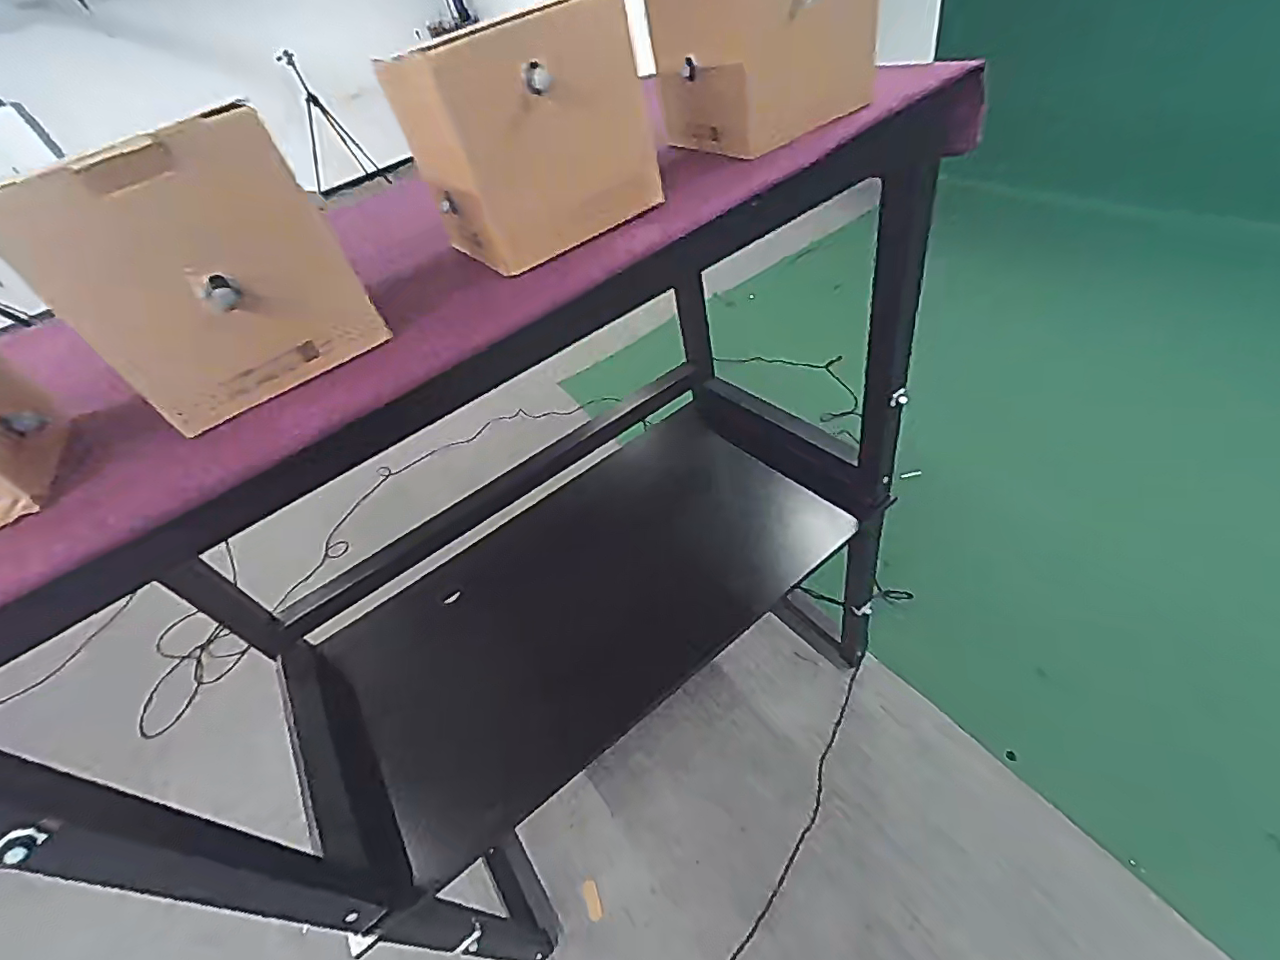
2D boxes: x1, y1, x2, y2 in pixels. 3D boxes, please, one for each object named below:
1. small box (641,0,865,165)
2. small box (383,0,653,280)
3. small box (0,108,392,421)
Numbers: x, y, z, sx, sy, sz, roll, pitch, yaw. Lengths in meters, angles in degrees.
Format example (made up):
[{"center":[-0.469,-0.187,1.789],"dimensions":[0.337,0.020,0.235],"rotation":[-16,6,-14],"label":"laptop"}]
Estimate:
[{"center":[0.129,-0.469,0.592],"dimensions":[0.179,0.176,0.168],"rotation":[-31,46,-14],"label":"small box"},{"center":[-0.103,-0.318,0.514],"dimensions":[0.179,0.176,0.168],"rotation":[-34,44,-16],"label":"small box"},{"center":[-0.329,-0.170,0.430],"dimensions":[0.168,0.176,0.179],"rotation":[-34,45,-18],"label":"small box"}]
